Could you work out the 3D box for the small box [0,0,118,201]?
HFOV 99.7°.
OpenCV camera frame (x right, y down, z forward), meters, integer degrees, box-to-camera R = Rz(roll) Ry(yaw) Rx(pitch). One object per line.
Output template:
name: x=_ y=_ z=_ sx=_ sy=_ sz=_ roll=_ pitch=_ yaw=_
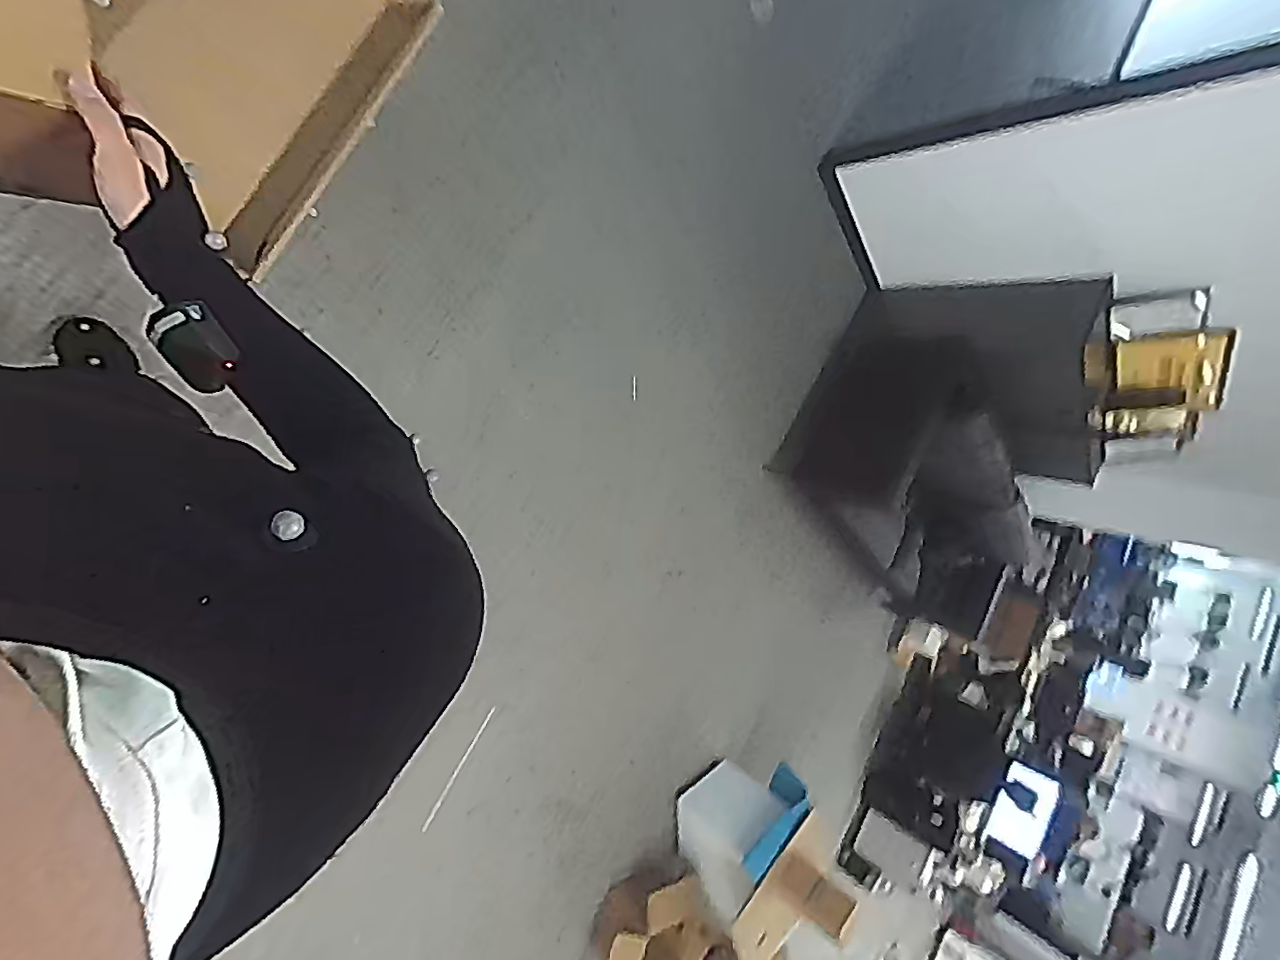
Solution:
small box: x=-0.544 y=-0.358 z=0.428 sx=0.168 sy=0.176 sz=0.179 roll=-11 pitch=94 yaw=-40
